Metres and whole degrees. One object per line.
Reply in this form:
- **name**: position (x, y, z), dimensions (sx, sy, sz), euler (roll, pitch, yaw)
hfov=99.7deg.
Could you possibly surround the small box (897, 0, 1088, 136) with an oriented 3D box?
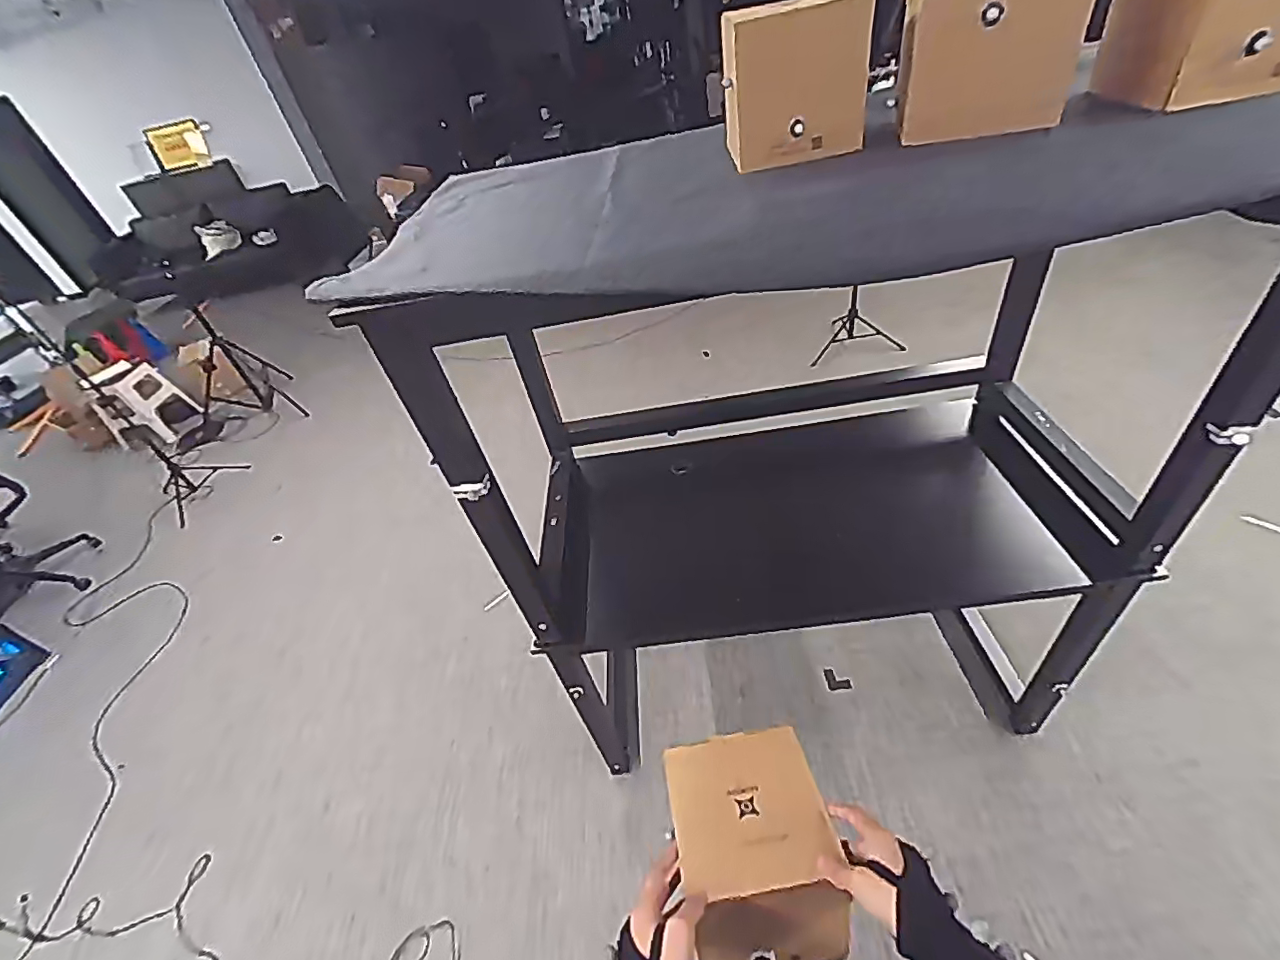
- **small box**: position (0.428, -0.550, 0.676), dimensions (0.179, 0.176, 0.168), euler (3, 44, 17)

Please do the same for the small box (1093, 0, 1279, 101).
- **small box**: position (0.671, -0.551, 0.614), dimensions (0.168, 0.176, 0.179), euler (-5, 42, 10)

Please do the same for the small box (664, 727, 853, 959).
- **small box**: position (0.125, 0.422, 0.616), dimensions (0.168, 0.176, 0.179), euler (-10, 25, -1)
